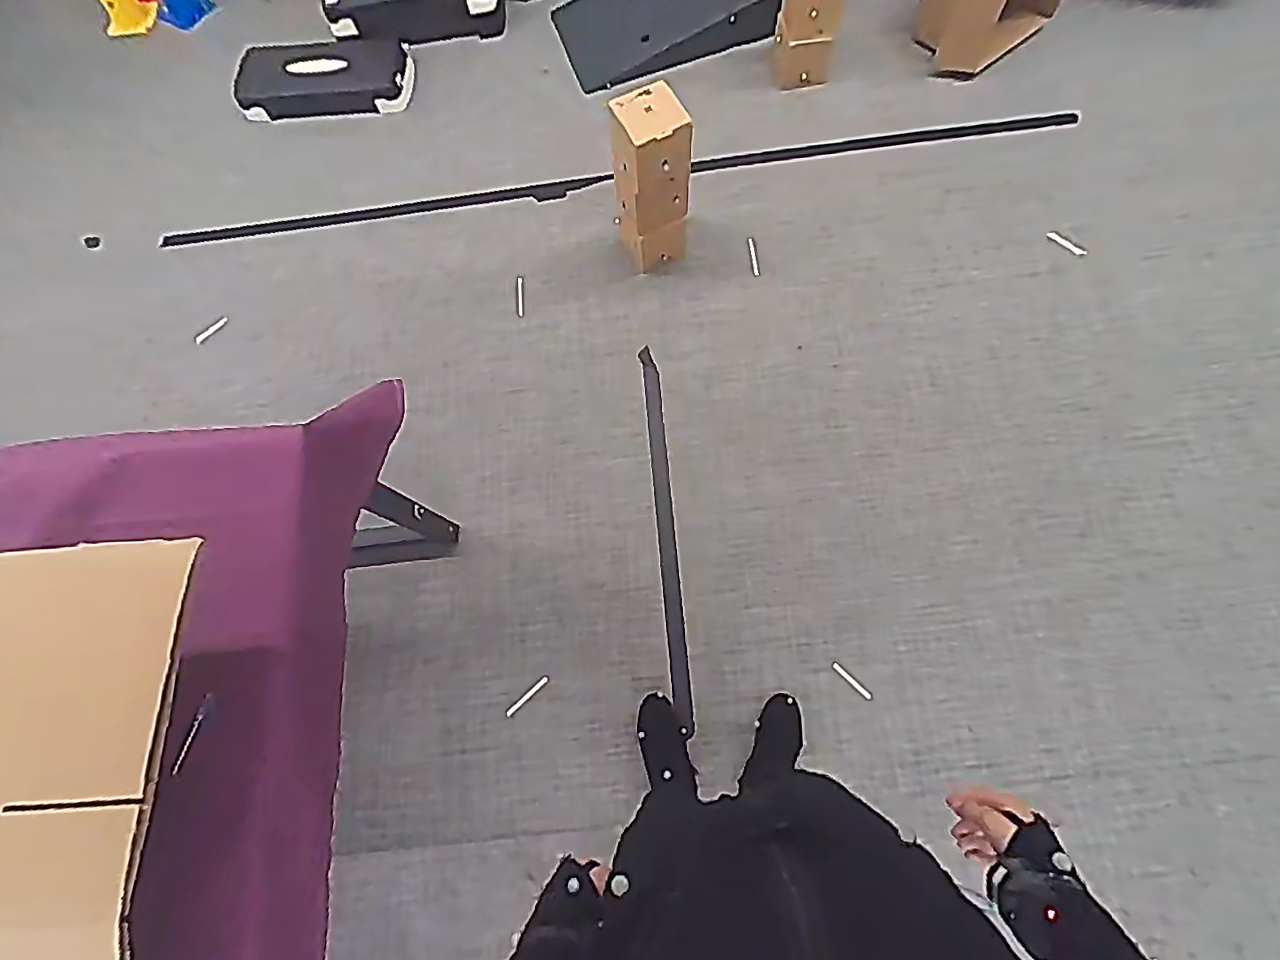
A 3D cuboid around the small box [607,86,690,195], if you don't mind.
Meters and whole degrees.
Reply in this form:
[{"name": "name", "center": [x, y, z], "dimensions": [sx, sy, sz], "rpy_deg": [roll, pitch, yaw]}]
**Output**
[{"name": "small box", "center": [0.026, -0.916, 1.479], "dimensions": [0.168, 0.176, 0.179], "rpy_deg": [-25, 73, -5]}]
